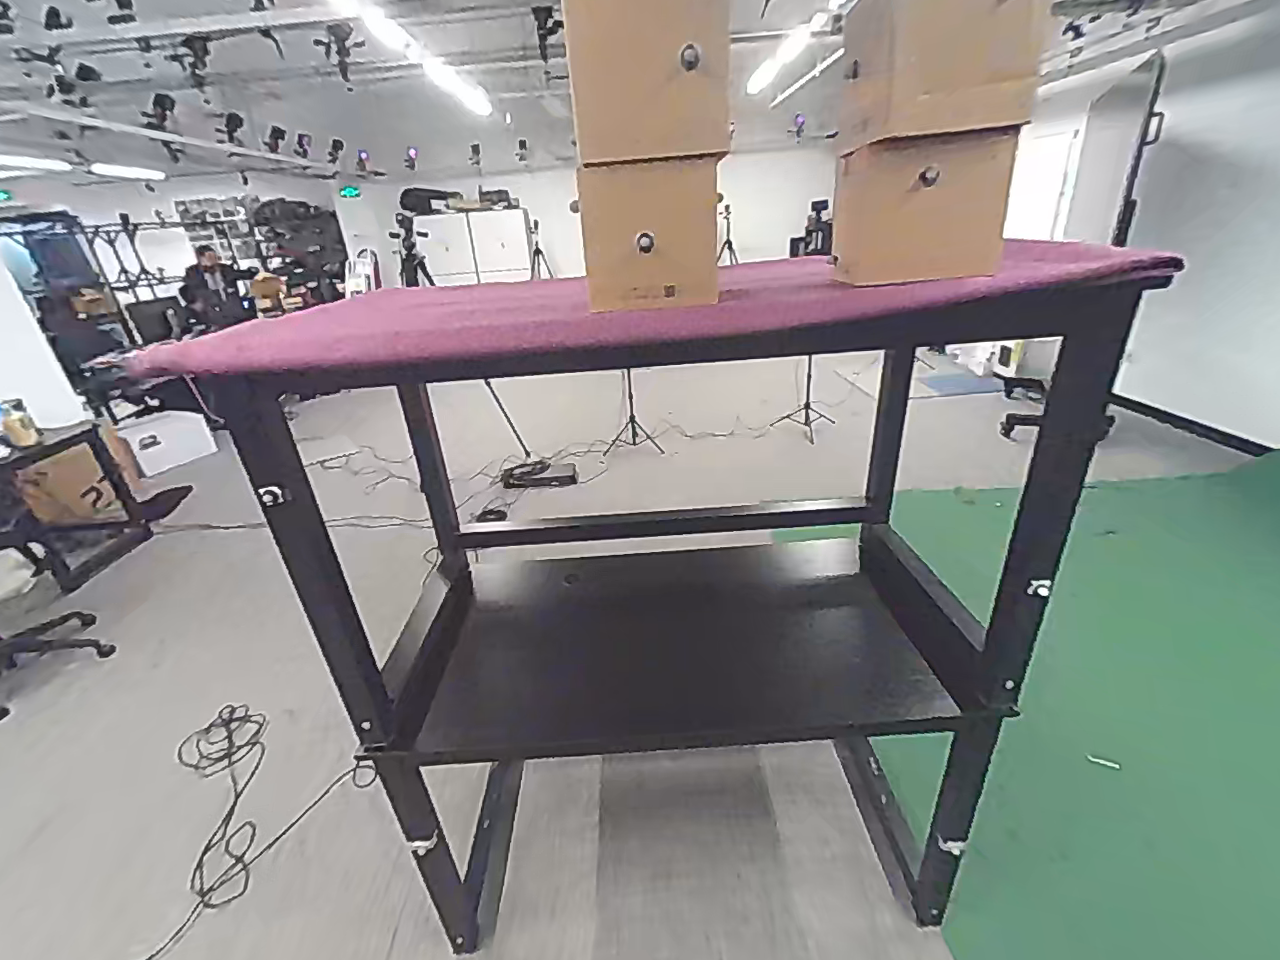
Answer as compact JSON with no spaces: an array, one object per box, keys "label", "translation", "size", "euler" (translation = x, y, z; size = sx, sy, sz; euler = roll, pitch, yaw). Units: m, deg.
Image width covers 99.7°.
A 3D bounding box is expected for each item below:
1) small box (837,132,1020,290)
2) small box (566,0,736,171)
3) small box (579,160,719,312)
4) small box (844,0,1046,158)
[{"label":"small box","translation":[0.379,-0.361,0.749],"size":[0.179,0.176,0.168],"euler":[-2,24,7]},{"label":"small box","translation":[0.018,-0.465,0.650],"size":[0.179,0.176,0.168],"euler":[-3,25,3]},{"label":"small box","translation":[0.018,-0.323,0.731],"size":[0.168,0.176,0.179],"euler":[-2,26,3]},{"label":"small box","translation":[0.363,-0.502,0.669],"size":[0.179,0.176,0.168],"euler":[-4,24,3]}]
